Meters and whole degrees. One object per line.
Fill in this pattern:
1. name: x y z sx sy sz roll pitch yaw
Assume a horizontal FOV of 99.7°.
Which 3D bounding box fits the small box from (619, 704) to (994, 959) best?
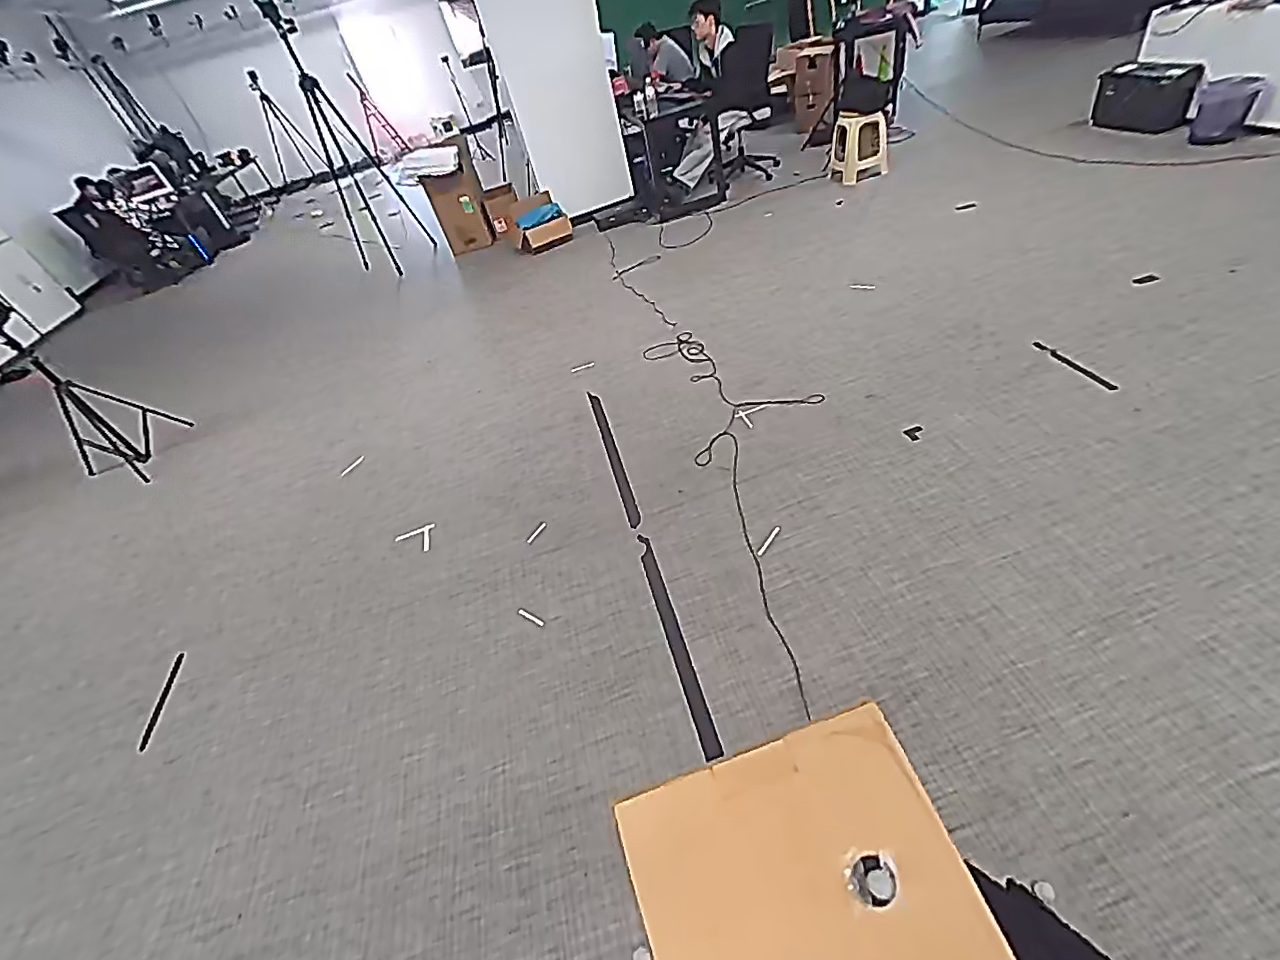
1. small box: 0.097 0.270 0.357 0.168 0.179 0.176 -19 61 -5
